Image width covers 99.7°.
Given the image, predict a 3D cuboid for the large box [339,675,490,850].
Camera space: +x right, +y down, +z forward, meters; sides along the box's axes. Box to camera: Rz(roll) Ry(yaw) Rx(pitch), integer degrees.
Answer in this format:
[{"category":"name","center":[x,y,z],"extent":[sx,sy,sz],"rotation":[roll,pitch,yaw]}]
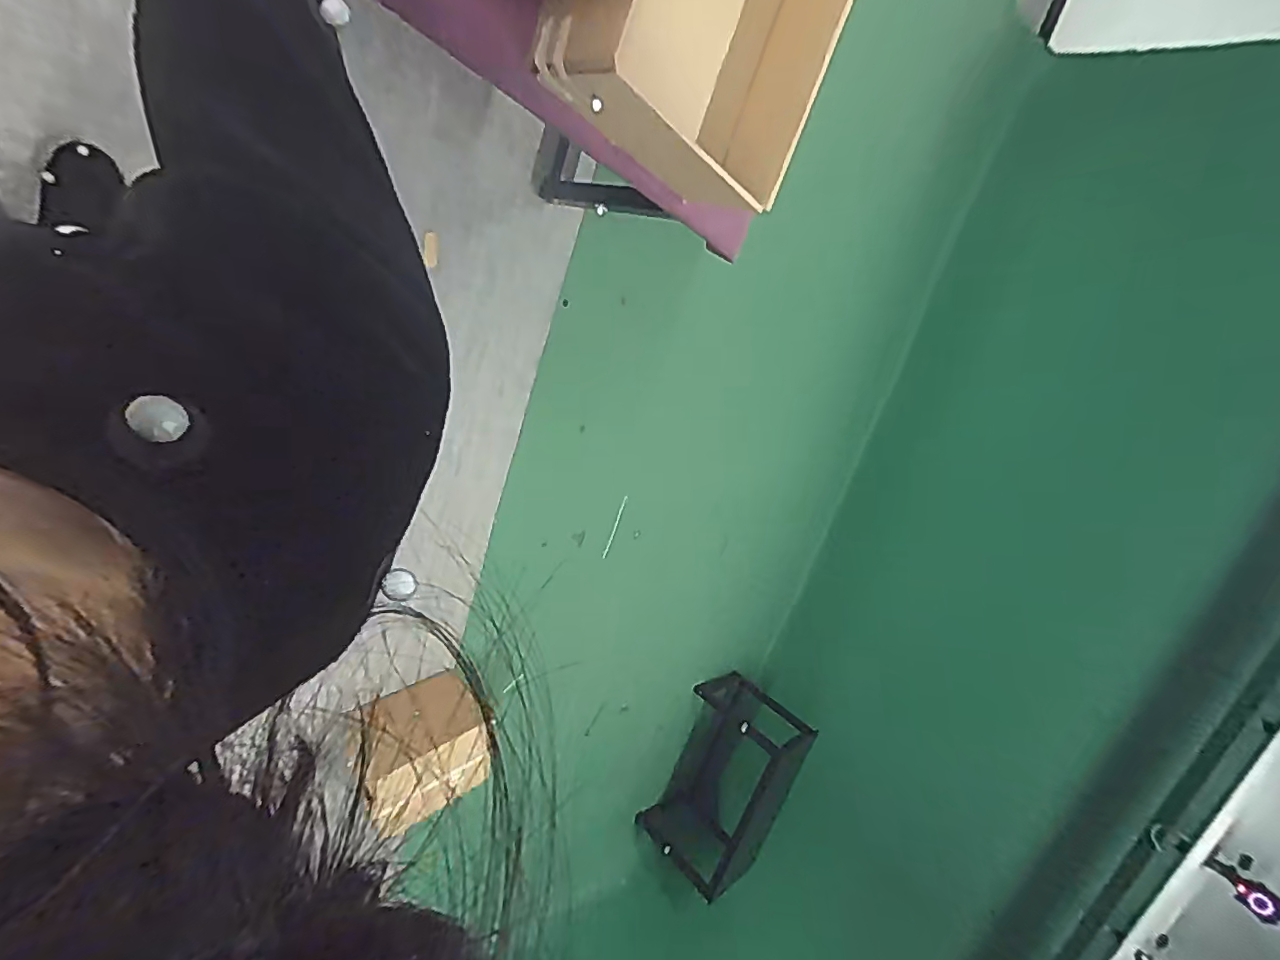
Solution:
[{"category":"large box","center":[-0.795,0.977,1.925],"extent":[0.408,0.320,0.320],"rotation":[-15,124,-44]}]
